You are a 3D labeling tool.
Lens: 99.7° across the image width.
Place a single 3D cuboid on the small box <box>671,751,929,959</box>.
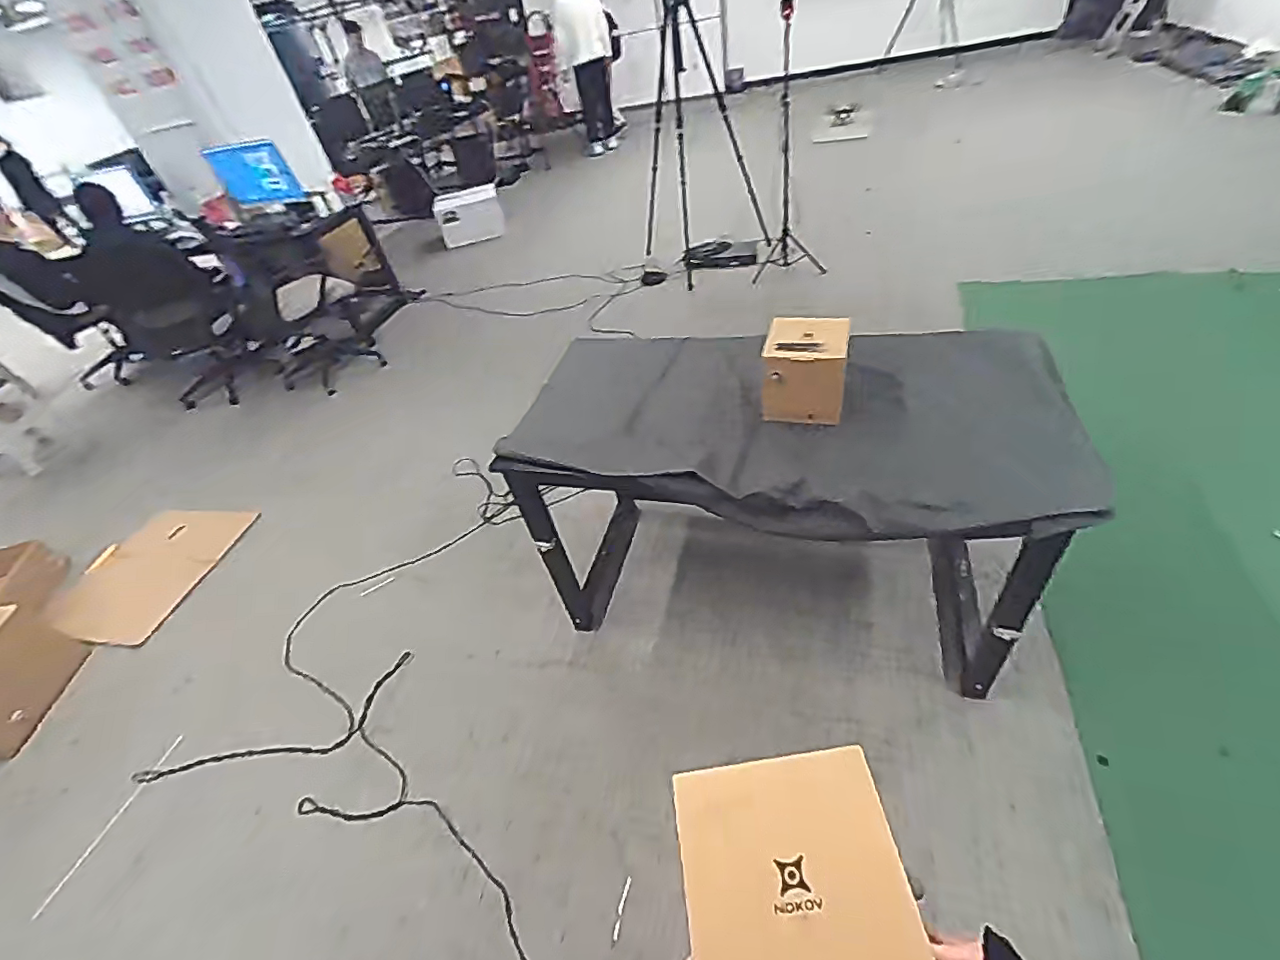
[{"bbox_3d":[0.126,0.359,0.459,0.168,0.176,0.179,-12,46,4],"label":"small box"}]
